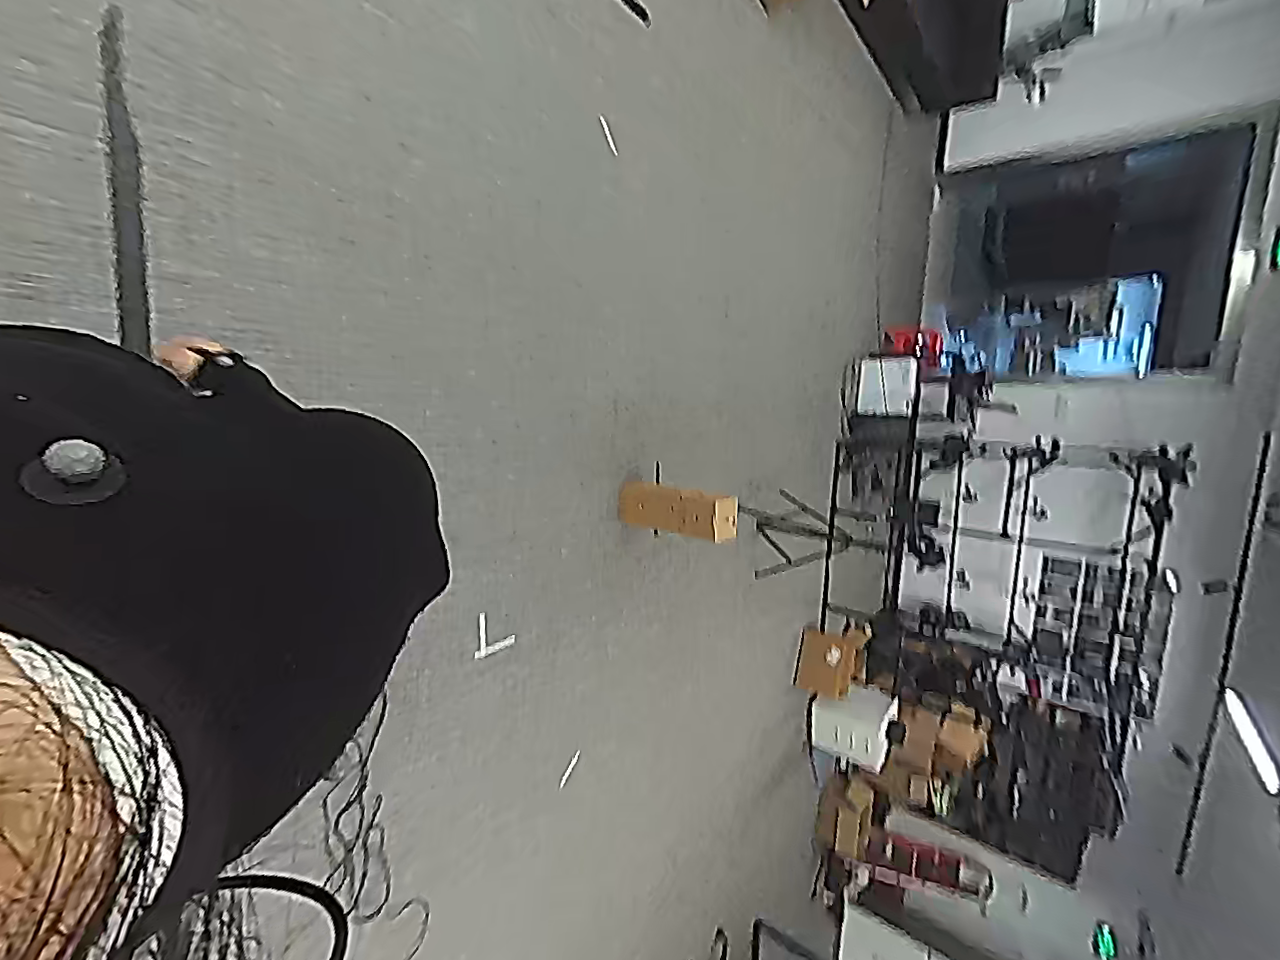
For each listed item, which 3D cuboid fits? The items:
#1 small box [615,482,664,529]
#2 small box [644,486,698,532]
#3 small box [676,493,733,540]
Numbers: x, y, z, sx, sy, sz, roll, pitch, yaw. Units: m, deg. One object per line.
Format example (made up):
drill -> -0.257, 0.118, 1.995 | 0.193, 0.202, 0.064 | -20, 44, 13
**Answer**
small box -> 0.004, 0.109, 2.410 | 0.168, 0.176, 0.179 | -8, 102, -51
small box -> 0.130, 0.120, 2.305 | 0.168, 0.176, 0.179 | -4, 99, -51
small box -> 0.260, 0.145, 2.208 | 0.179, 0.176, 0.168 | -5, 99, -50
